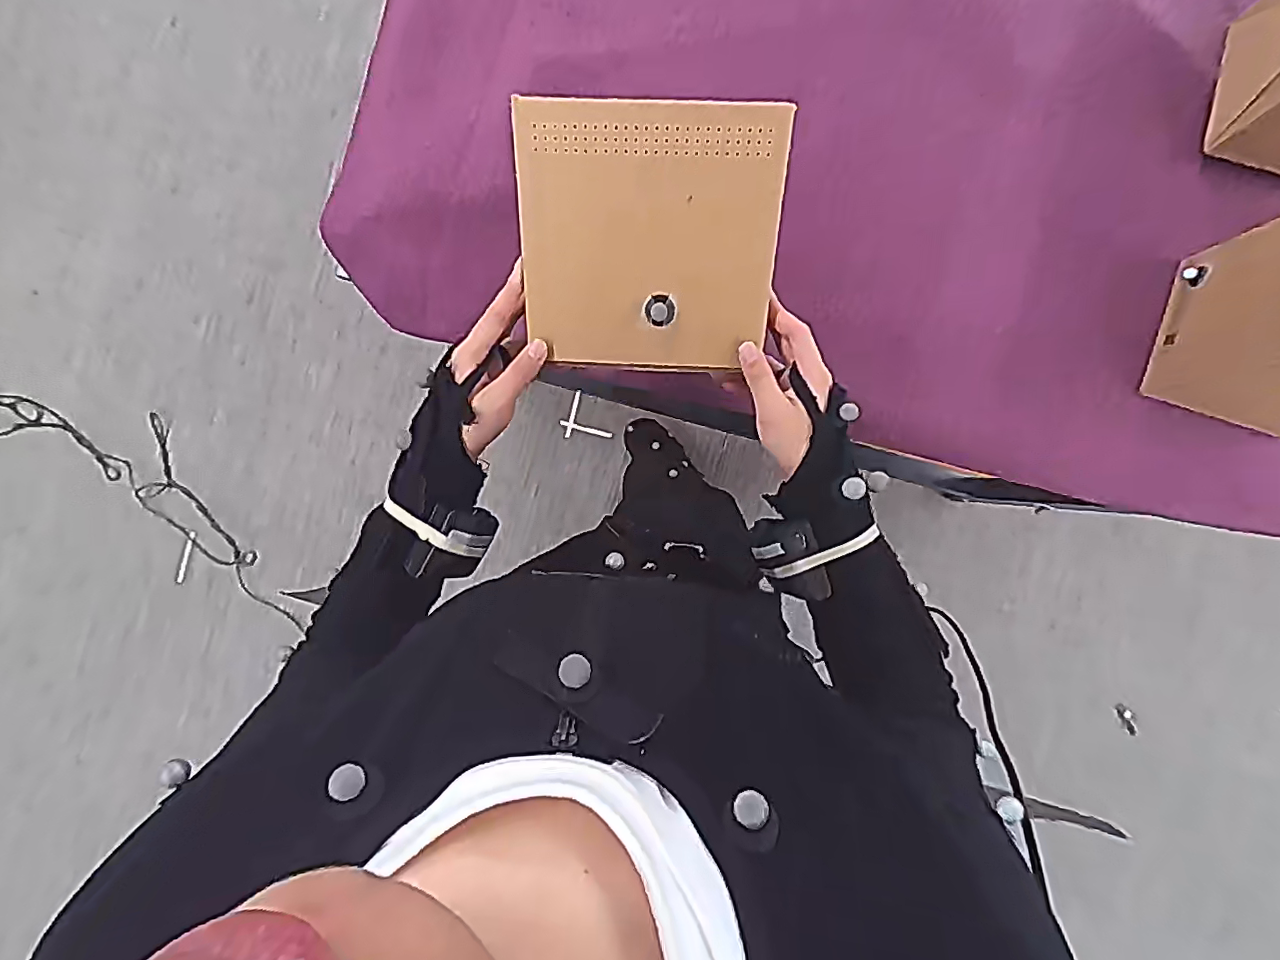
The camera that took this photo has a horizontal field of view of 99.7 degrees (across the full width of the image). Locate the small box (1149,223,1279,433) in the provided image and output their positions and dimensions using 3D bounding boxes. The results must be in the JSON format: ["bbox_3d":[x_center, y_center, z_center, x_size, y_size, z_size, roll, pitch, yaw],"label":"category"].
[{"bbox_3d":[0.679,-0.151,0.539,0.179,0.176,0.168,18,90,1],"label":"small box"}]
